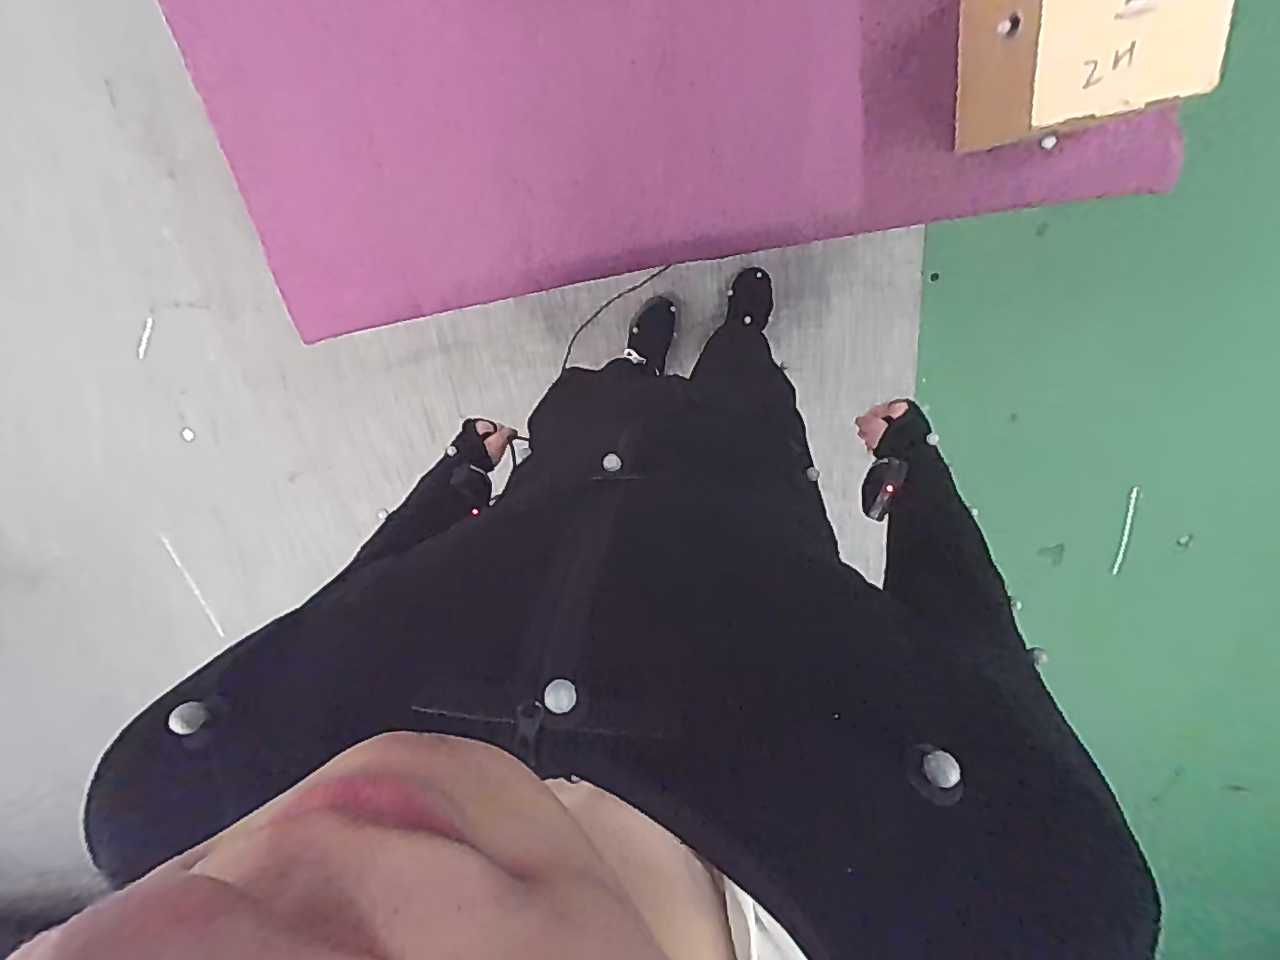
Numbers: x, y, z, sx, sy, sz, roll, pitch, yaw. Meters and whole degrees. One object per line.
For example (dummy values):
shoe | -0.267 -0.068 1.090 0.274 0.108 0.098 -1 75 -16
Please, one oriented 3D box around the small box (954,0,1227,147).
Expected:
small box | 0.455 -0.475 0.568 0.168 0.176 0.179 -7 113 8

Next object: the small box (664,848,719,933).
small box | 0.164 1.319 1.743 0.168 0.176 0.179 -3 116 5
